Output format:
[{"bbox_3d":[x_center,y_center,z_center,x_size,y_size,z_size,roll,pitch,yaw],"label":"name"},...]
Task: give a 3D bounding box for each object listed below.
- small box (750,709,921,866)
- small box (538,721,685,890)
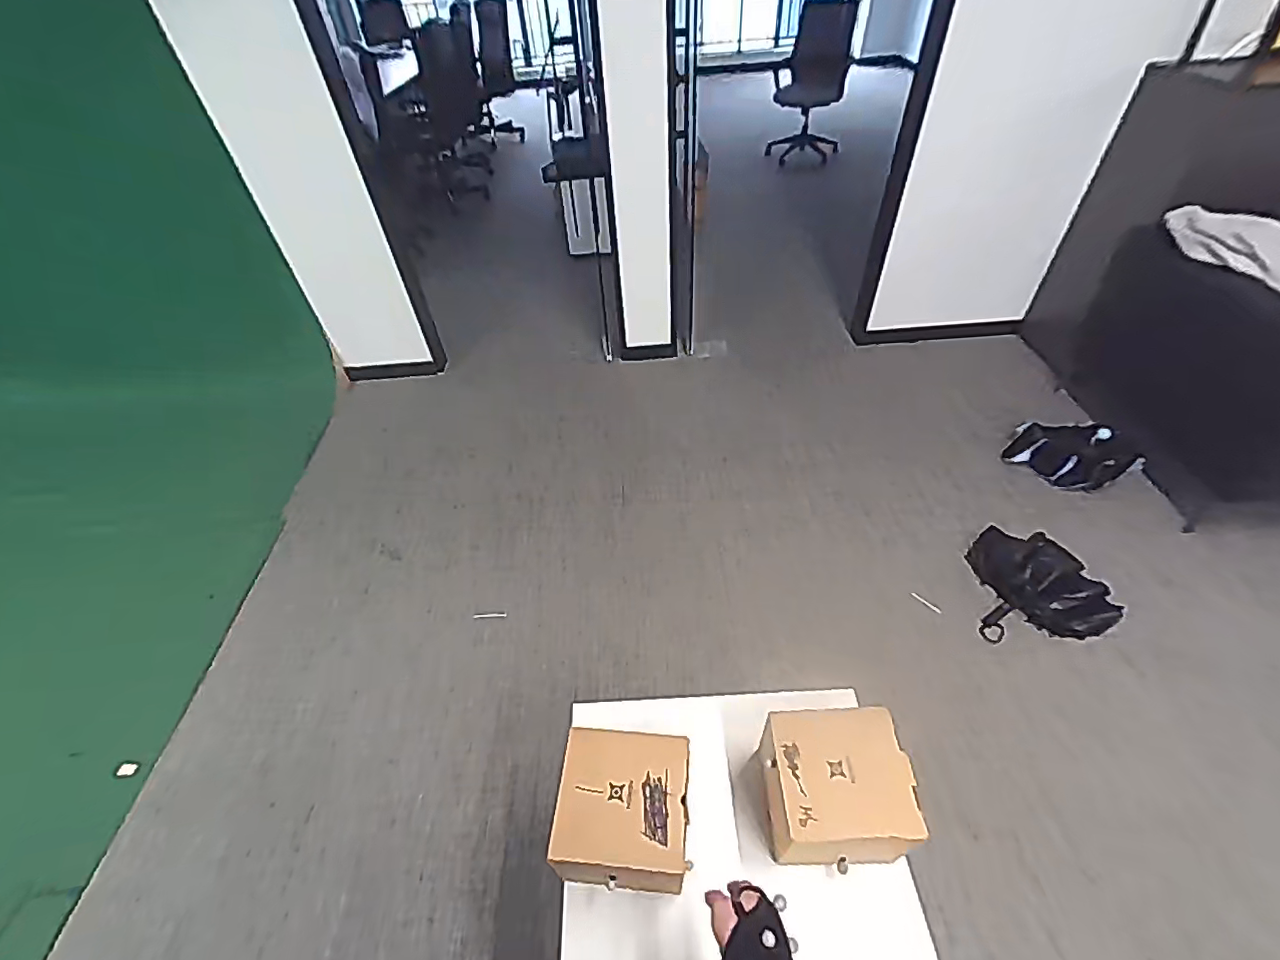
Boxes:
[{"bbox_3d":[0.267,0.448,0.787,0.179,0.176,0.168,-1,46,0],"label":"small box"},{"bbox_3d":[-0.032,0.467,0.773,0.179,0.176,0.168,4,45,5],"label":"small box"}]
